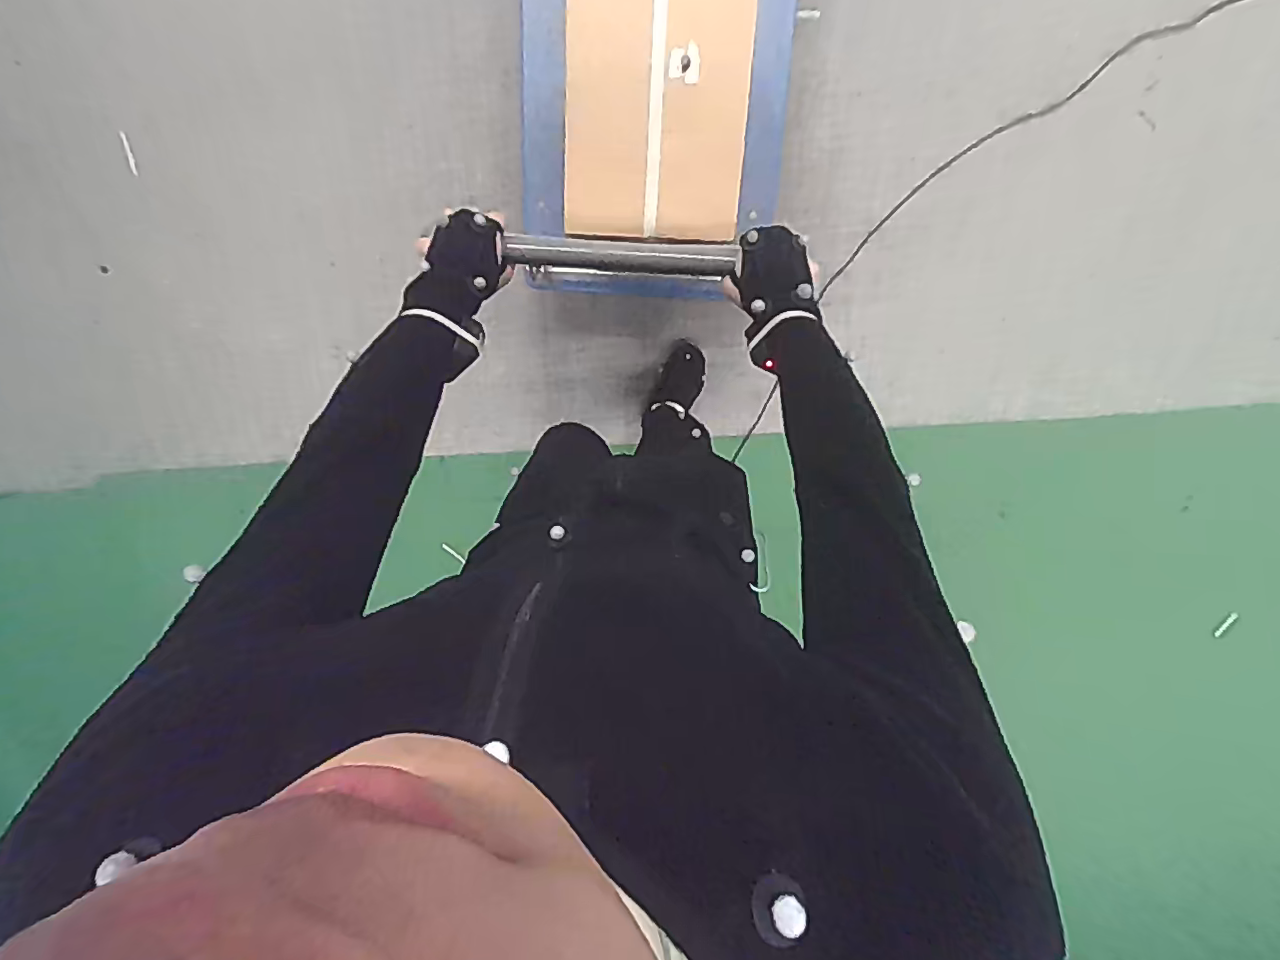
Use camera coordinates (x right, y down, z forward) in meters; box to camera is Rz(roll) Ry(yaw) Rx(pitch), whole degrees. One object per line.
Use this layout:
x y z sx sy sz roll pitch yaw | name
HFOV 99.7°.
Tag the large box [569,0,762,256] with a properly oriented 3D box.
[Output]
0.047 -0.670 1.055 0.320 0.320 0.408 4 107 2 | large box
